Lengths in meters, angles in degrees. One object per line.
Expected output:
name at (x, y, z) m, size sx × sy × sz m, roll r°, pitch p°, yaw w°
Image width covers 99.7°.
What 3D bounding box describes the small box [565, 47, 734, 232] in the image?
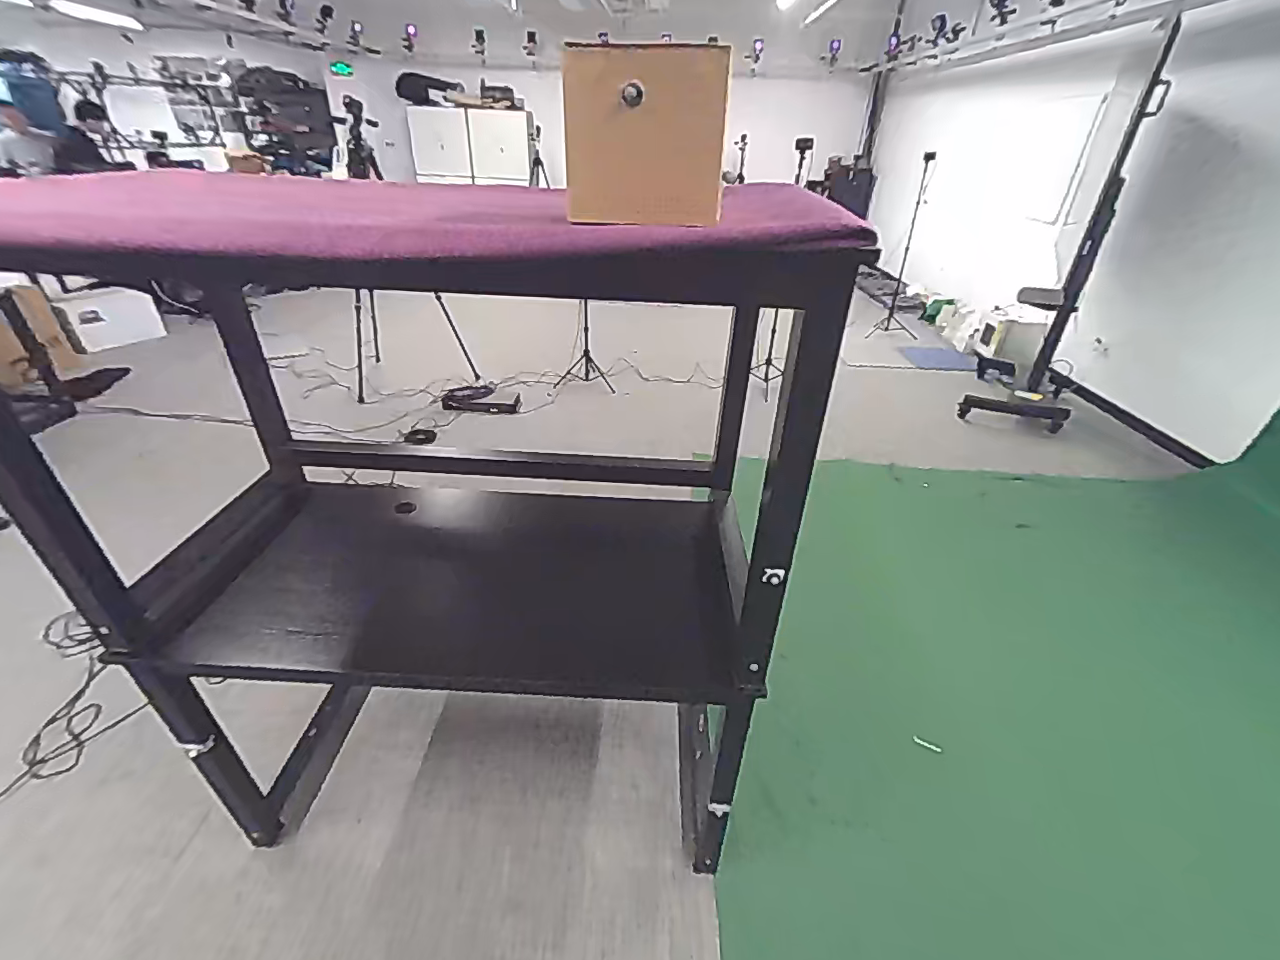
small box at (0.017, -0.397, 0.651) m, size 0.179 × 0.176 × 0.168 m, roll 6°, pitch 30°, yaw 6°
